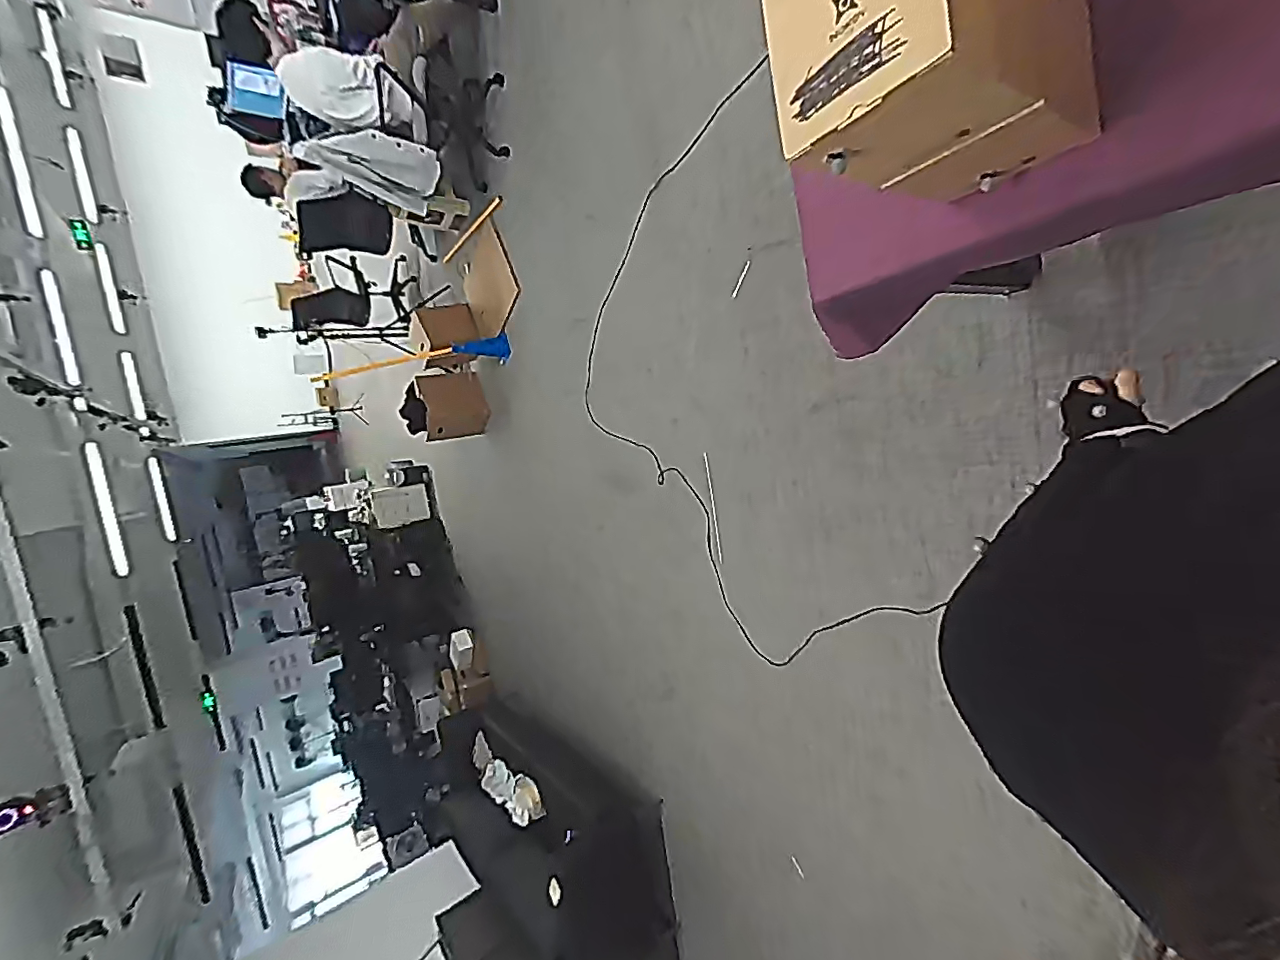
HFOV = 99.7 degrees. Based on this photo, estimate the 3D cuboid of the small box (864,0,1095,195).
[{"bbox_3d":[0.384,-0.453,0.614,0.168,0.176,0.179,-3,99,55],"label":"small box"}]
